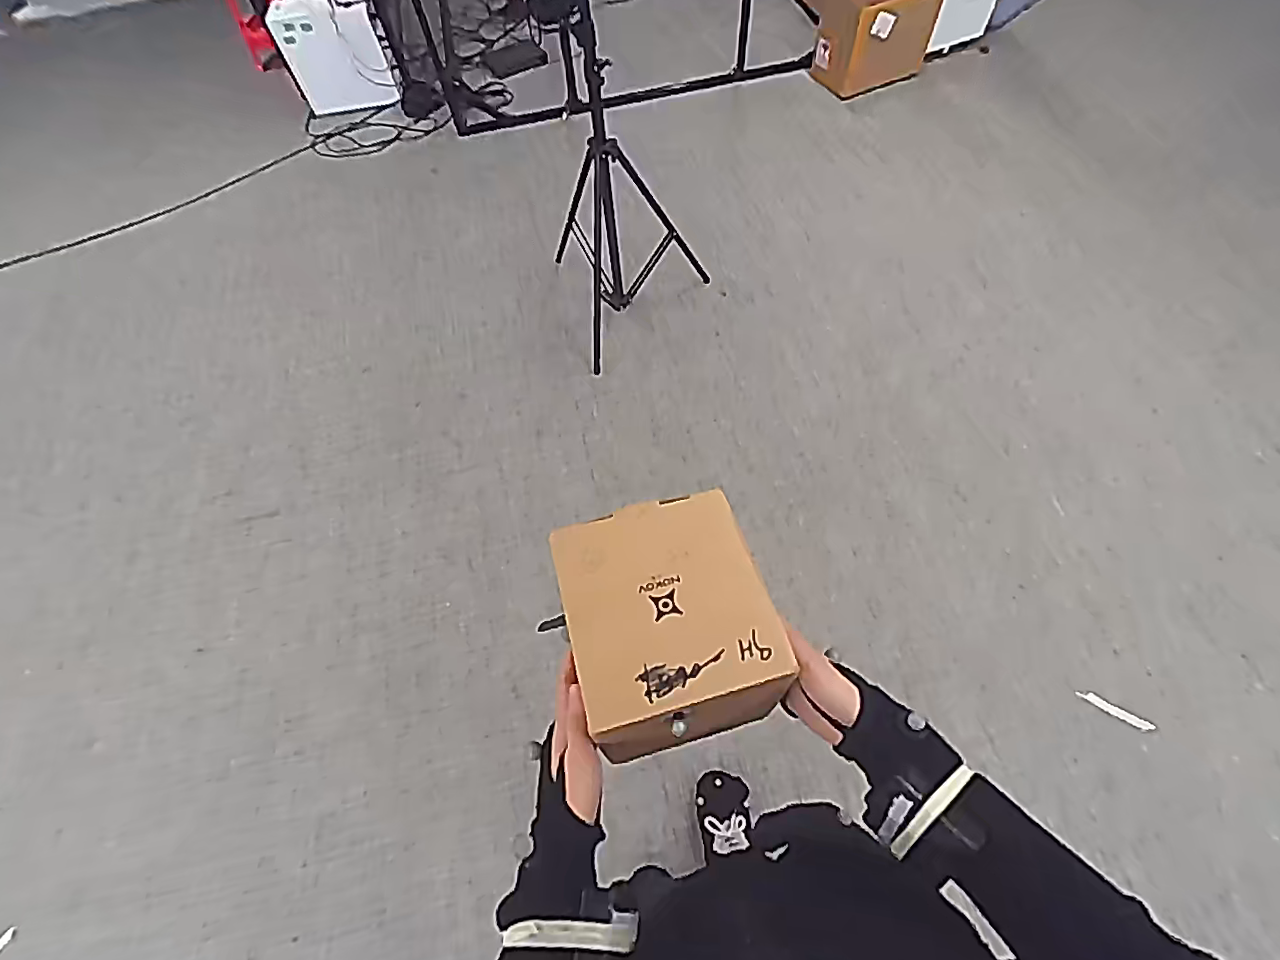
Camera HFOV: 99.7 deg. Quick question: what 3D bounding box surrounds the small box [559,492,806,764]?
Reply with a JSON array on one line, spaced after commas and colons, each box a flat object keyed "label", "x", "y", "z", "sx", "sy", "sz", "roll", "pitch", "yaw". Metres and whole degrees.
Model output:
[{"label": "small box", "x": 0.029, "y": 0.142, "z": 0.509, "sx": 0.168, "sy": 0.176, "sz": 0.179, "roll": -14, "pitch": 55, "yaw": -7}]
